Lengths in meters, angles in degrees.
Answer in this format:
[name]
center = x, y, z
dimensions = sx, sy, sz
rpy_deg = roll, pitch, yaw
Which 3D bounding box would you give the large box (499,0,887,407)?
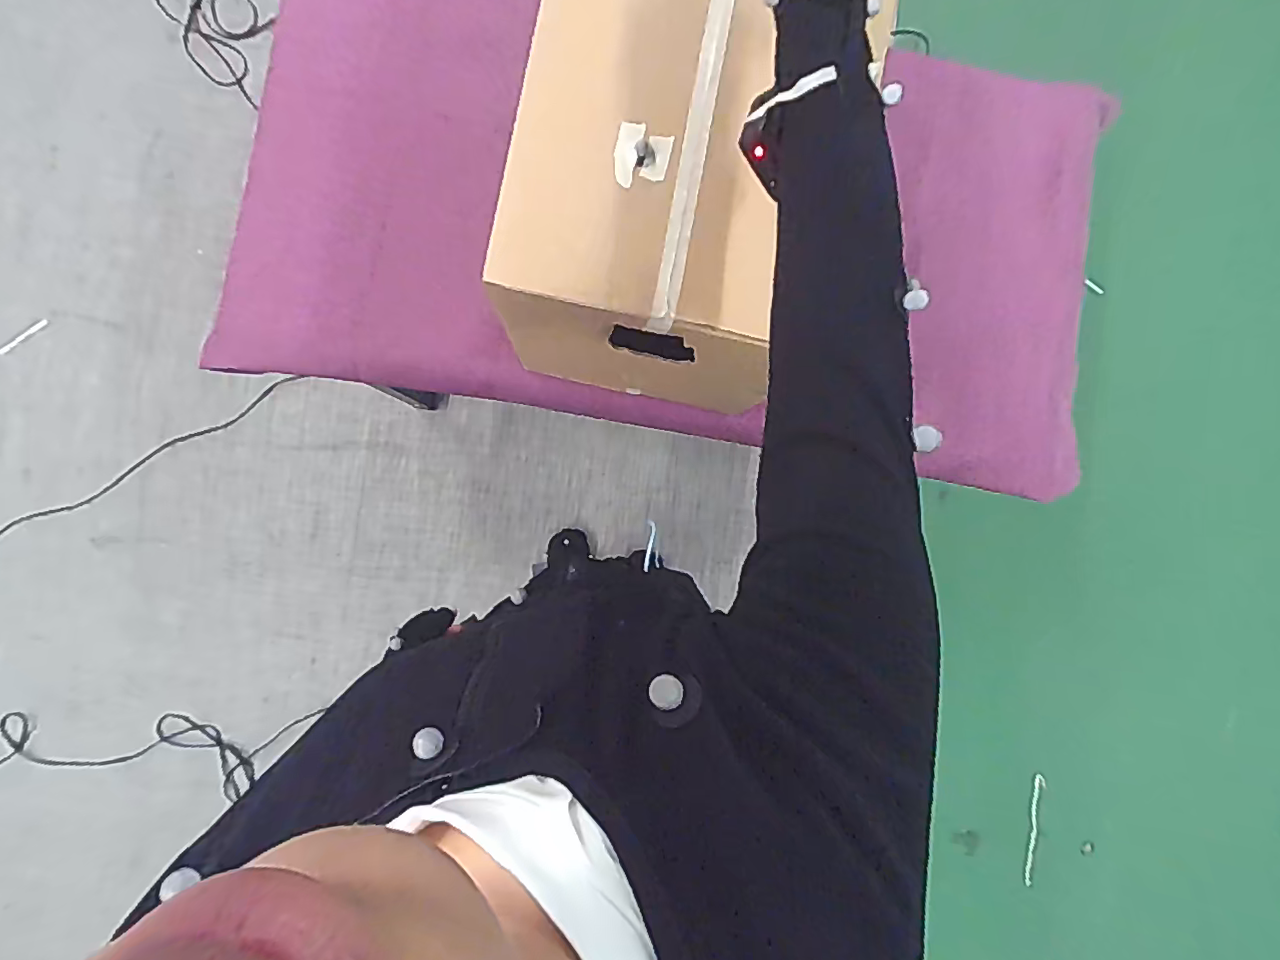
[large box]
center = 0.043, -0.333, 0.644
dimensions = 0.320, 0.320, 0.408
rpy_deg = 12, 87, -5
